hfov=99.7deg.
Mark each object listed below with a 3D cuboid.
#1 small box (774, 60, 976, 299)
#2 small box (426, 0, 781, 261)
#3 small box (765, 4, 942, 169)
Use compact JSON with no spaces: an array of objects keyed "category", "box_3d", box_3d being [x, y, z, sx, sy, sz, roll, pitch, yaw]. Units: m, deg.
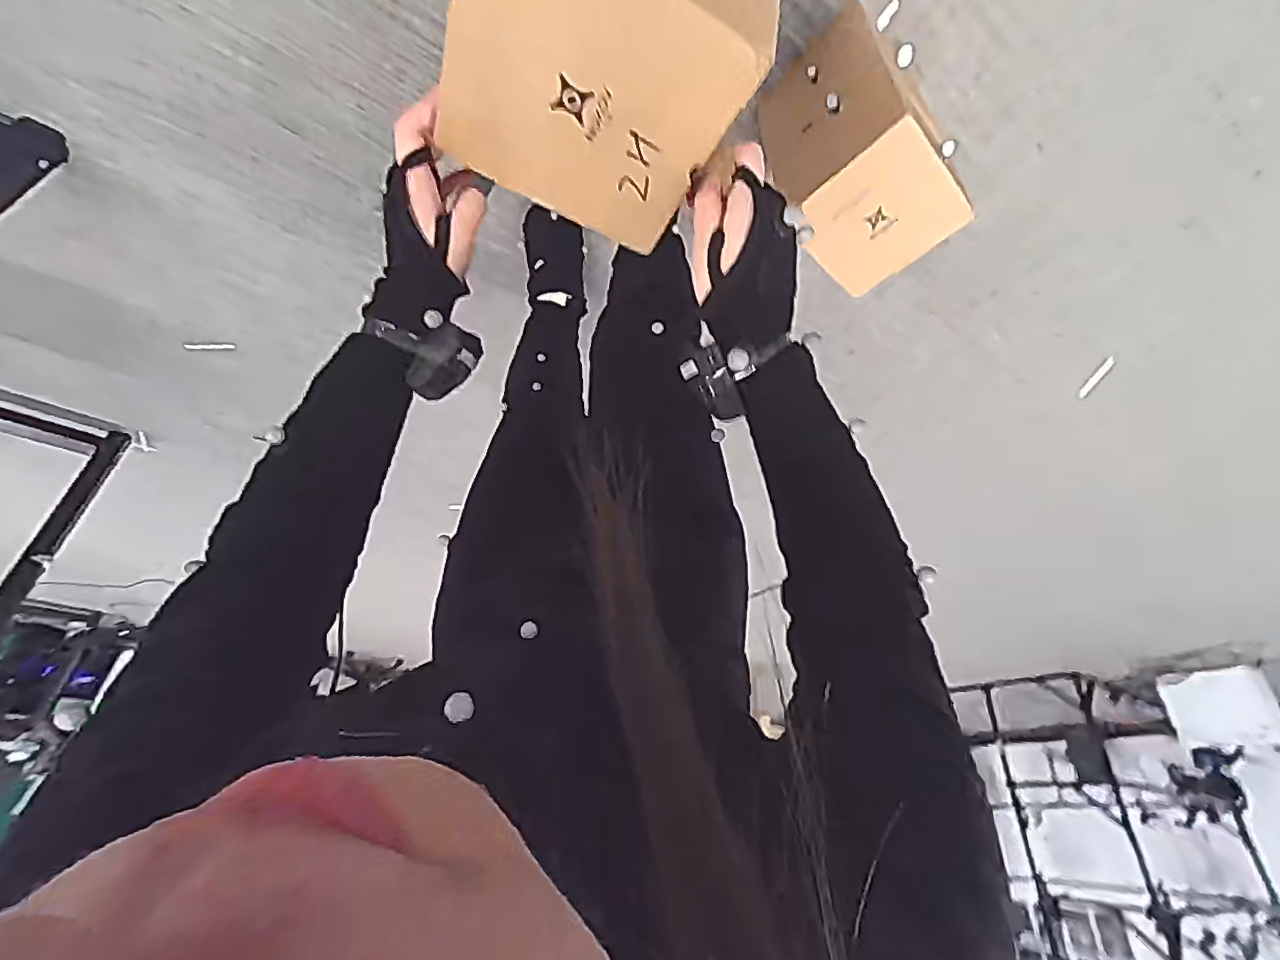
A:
[{"category":"small box","box_3d":[0.293,-0.380,0.696,0.179,0.176,0.168,27,140,-33]},{"category":"small box","box_3d":[-0.023,-0.298,0.369,0.179,0.176,0.168,19,153,-20]},{"category":"small box","box_3d":[0.297,-0.518,0.783,0.168,0.176,0.179,26,141,-32]}]
